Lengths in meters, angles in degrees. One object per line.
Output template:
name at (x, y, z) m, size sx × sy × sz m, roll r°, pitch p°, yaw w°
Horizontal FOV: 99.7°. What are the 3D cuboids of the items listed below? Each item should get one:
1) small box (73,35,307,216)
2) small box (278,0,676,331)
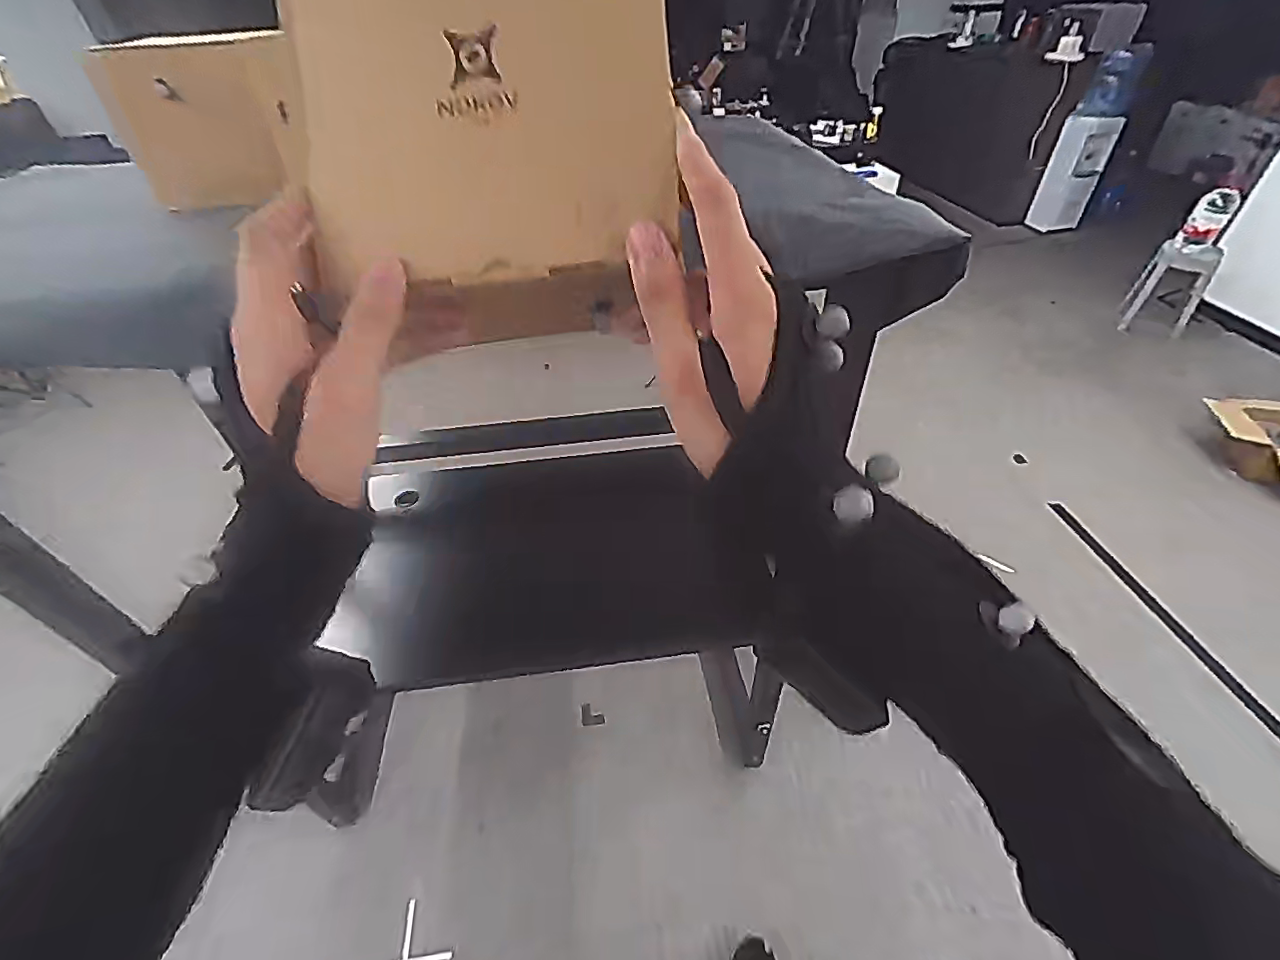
small box at (-0.538, -0.461, 0.705) m, size 0.179 × 0.176 × 0.168 m, roll -6°, pitch 43°, yaw -2°
small box at (-0.066, -0.186, 0.312) m, size 0.168 × 0.179 × 0.176 m, roll -4°, pitch 7°, yaw 4°
